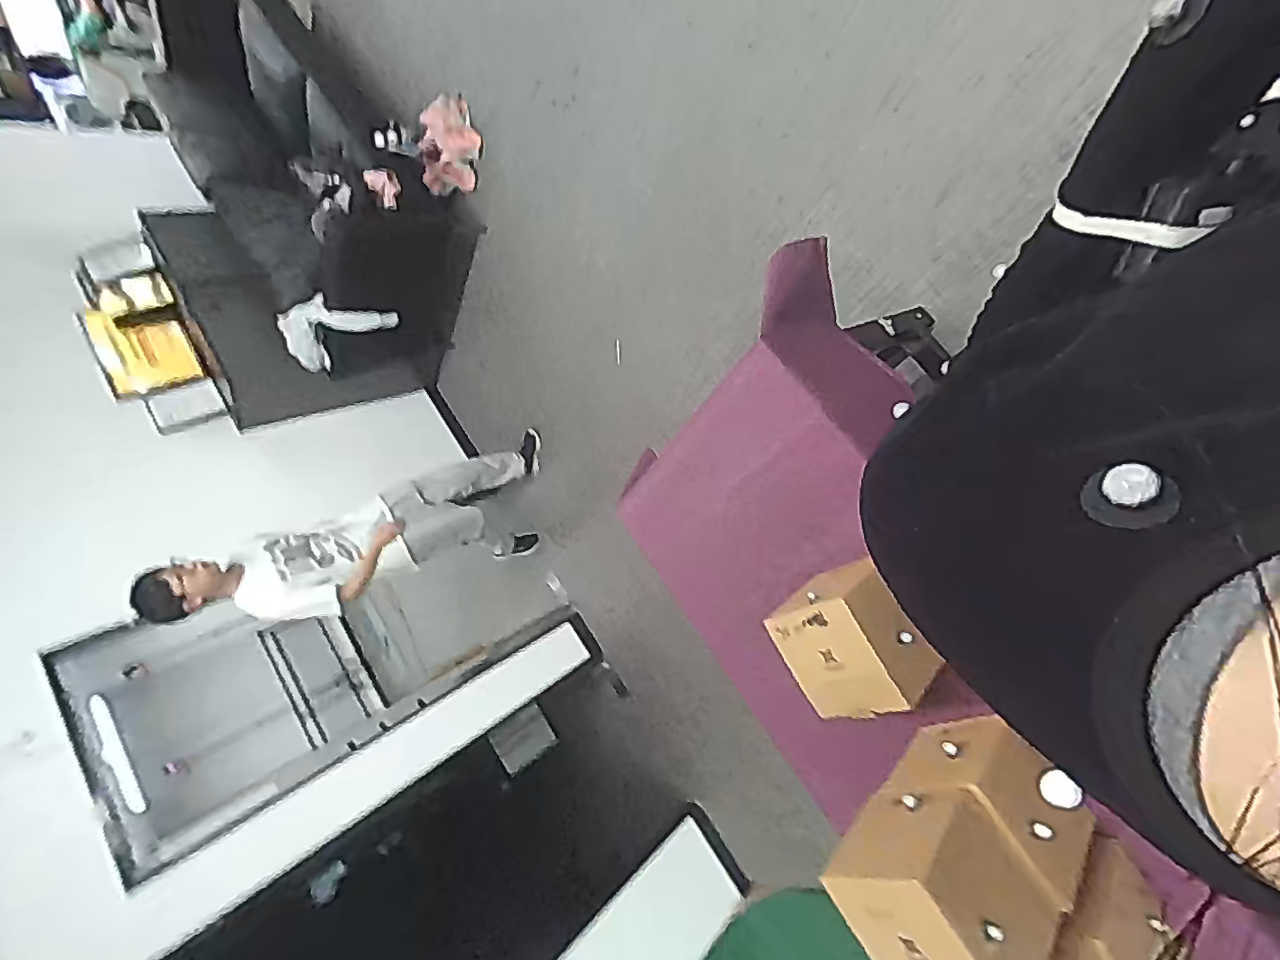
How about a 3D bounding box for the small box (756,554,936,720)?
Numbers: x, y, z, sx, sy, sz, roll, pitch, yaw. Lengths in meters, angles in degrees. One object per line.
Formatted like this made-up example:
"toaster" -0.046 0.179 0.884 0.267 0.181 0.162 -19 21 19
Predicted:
"small box" 0.324 0.243 0.847 0.168 0.176 0.179 -38 80 48
